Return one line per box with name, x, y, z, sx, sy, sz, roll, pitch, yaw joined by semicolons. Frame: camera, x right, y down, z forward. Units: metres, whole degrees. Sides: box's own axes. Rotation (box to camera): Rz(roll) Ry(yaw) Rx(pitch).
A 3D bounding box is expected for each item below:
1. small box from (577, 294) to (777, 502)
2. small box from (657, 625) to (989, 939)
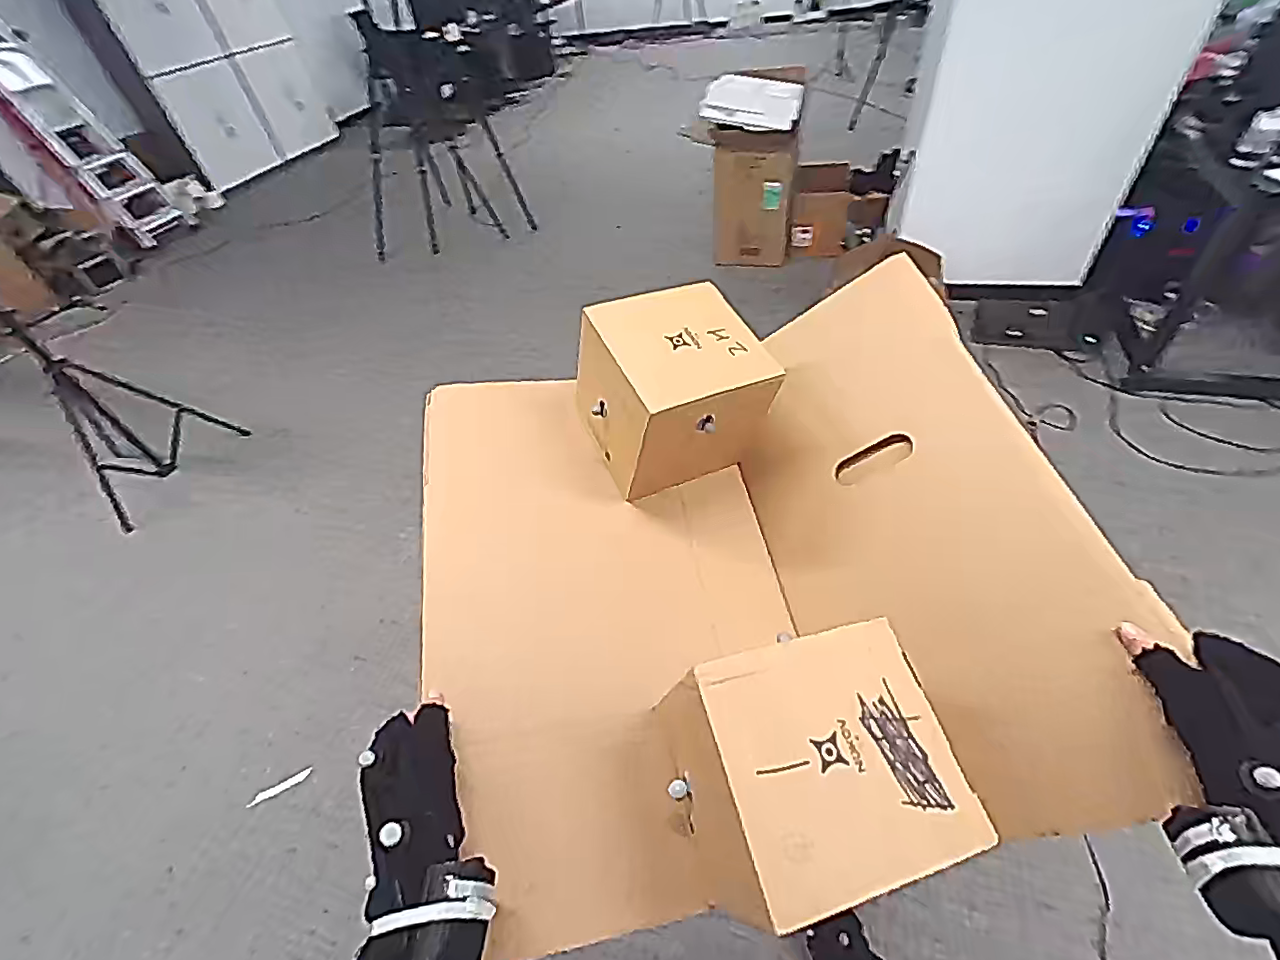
small box;0.031;-0.097;0.667;0.179;0.176;0.168;-19;62;-22
small box;0.129;0.242;0.457;0.179;0.176;0.168;-10;59;-15
